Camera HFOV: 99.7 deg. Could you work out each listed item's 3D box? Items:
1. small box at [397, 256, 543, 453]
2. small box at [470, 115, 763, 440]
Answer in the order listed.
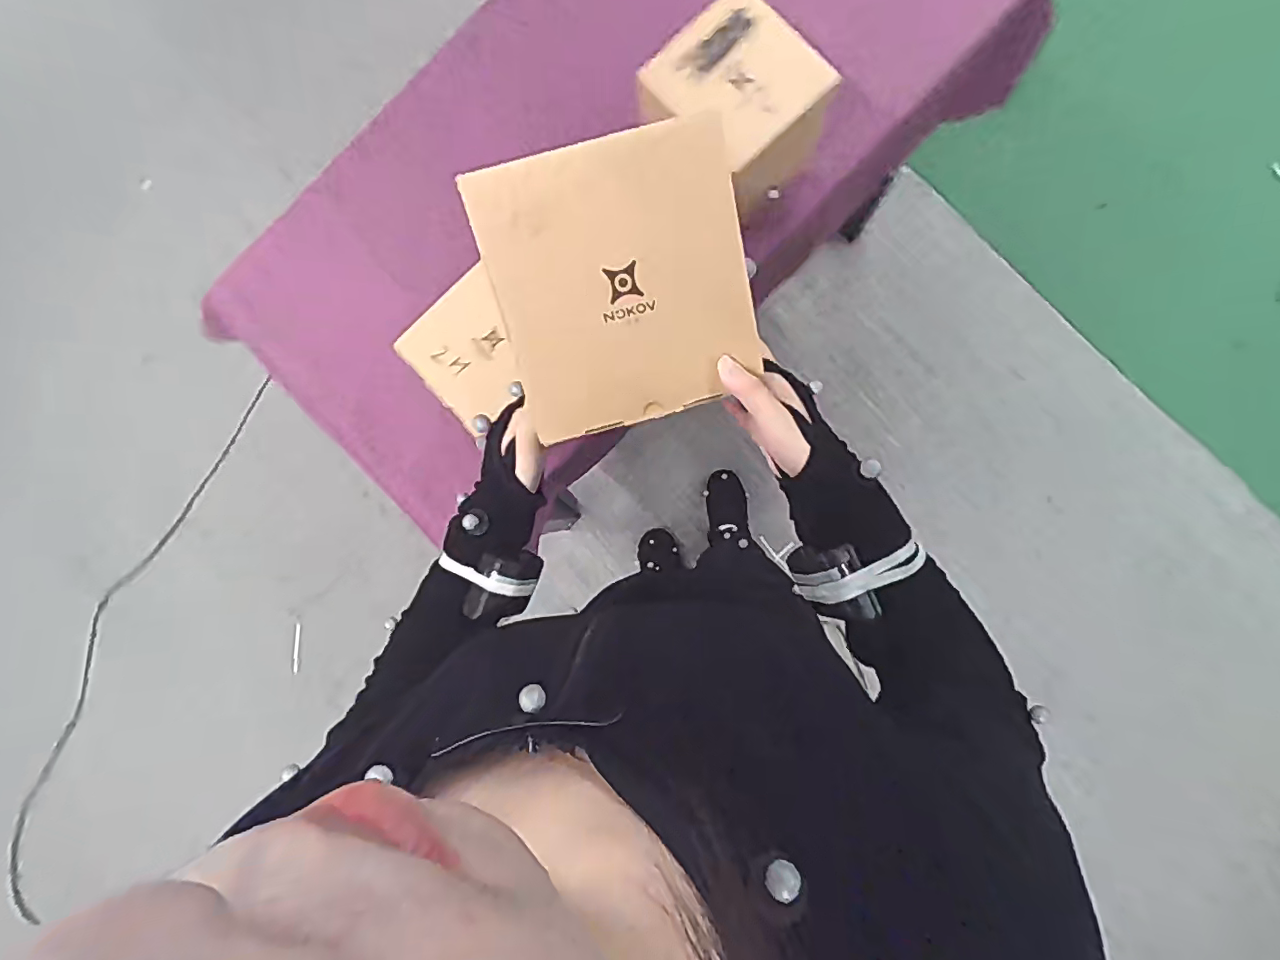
[{"bbox_3d":[-0.174,-0.156,0.726,0.179,0.176,0.168,-43,83,2],"label":"small box"},{"bbox_3d":[-0.016,-0.151,0.427,0.168,0.176,0.179,-13,112,-1],"label":"small box"}]
